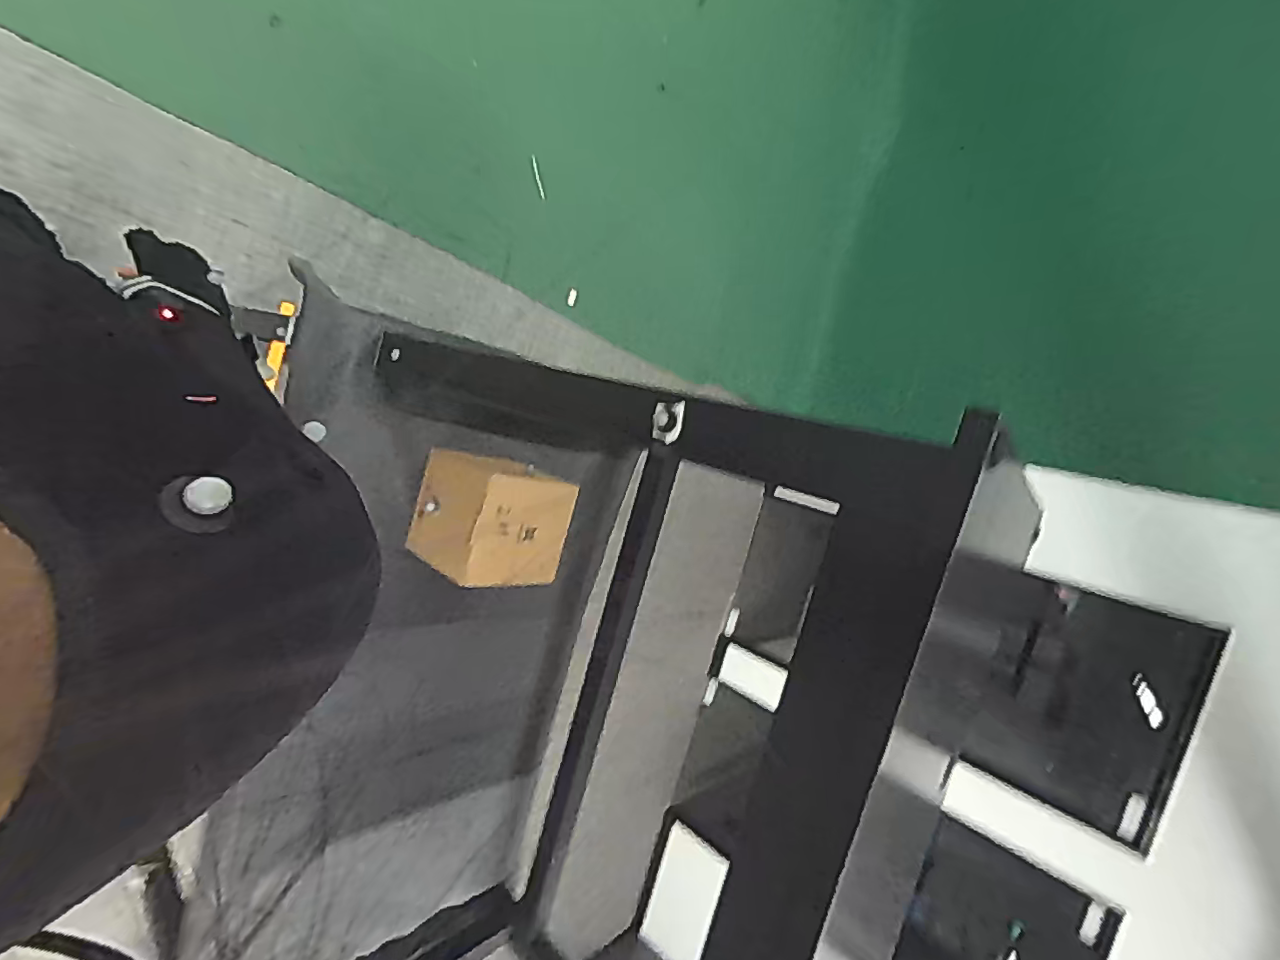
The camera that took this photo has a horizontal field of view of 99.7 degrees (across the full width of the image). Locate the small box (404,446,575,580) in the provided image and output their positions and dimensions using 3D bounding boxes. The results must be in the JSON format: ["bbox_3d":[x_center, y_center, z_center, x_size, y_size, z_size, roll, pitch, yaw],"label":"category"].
[{"bbox_3d":[-0.240,0.052,0.865,0.179,0.176,0.168,11,96,-52],"label":"small box"}]
